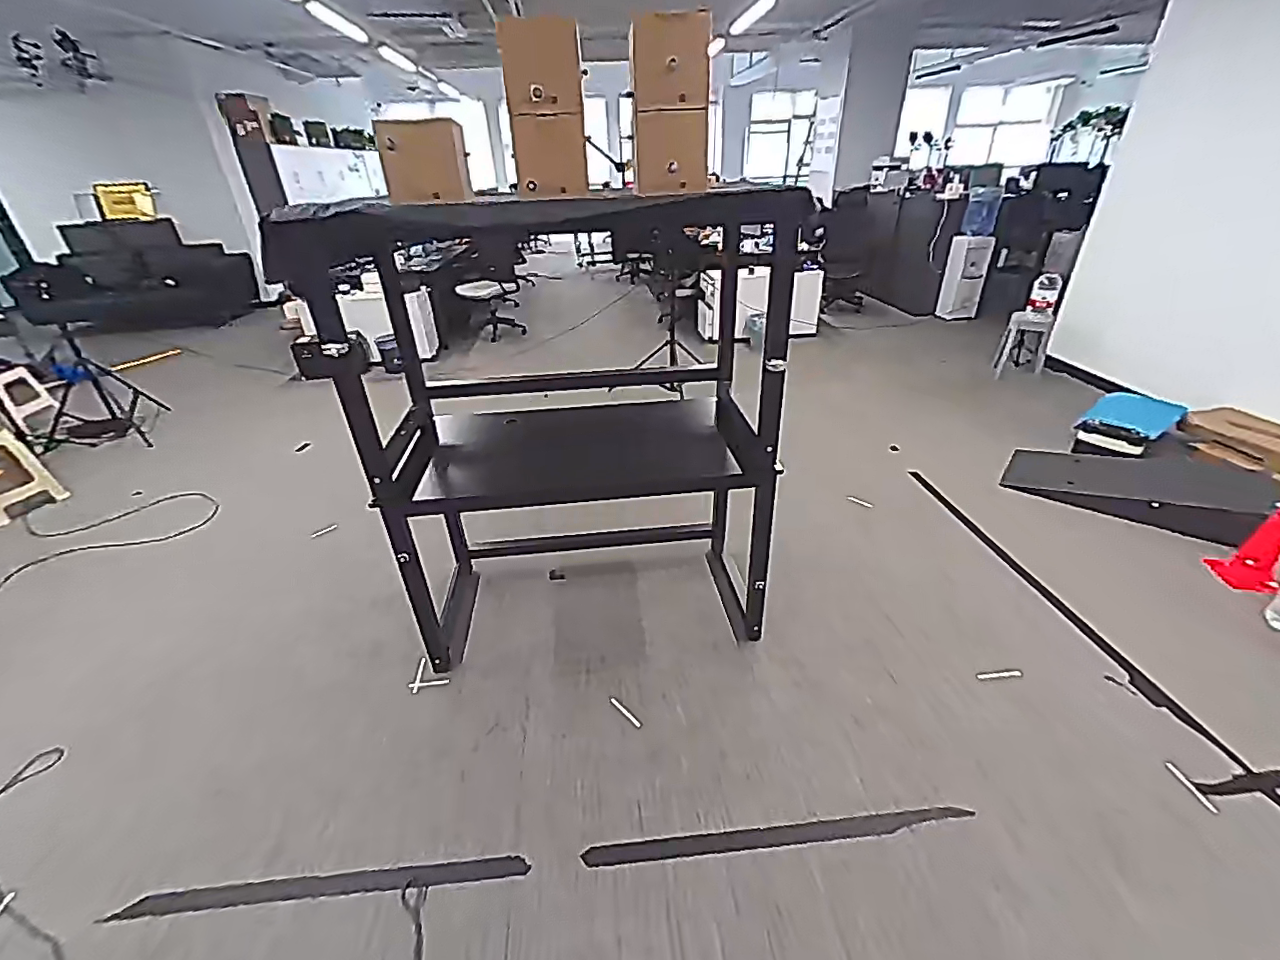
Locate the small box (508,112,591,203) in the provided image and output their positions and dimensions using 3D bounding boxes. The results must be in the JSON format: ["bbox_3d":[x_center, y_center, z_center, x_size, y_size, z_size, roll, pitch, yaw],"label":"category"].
[{"bbox_3d":[-0.206,-0.754,1.275,0.168,0.176,0.179,-5,28,-4],"label":"small box"}]

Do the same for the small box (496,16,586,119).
[{"bbox_3d":[-0.211,-0.897,1.198,0.168,0.176,0.179,-5,30,-3],"label":"small box"}]

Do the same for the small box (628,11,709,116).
[{"bbox_3d":[0.062,-0.921,1.213,0.168,0.176,0.179,-4,30,-2],"label":"small box"}]

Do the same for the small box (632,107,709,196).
[{"bbox_3d":[0.068,-0.778,1.293,0.168,0.176,0.179,-5,30,-2],"label":"small box"}]
